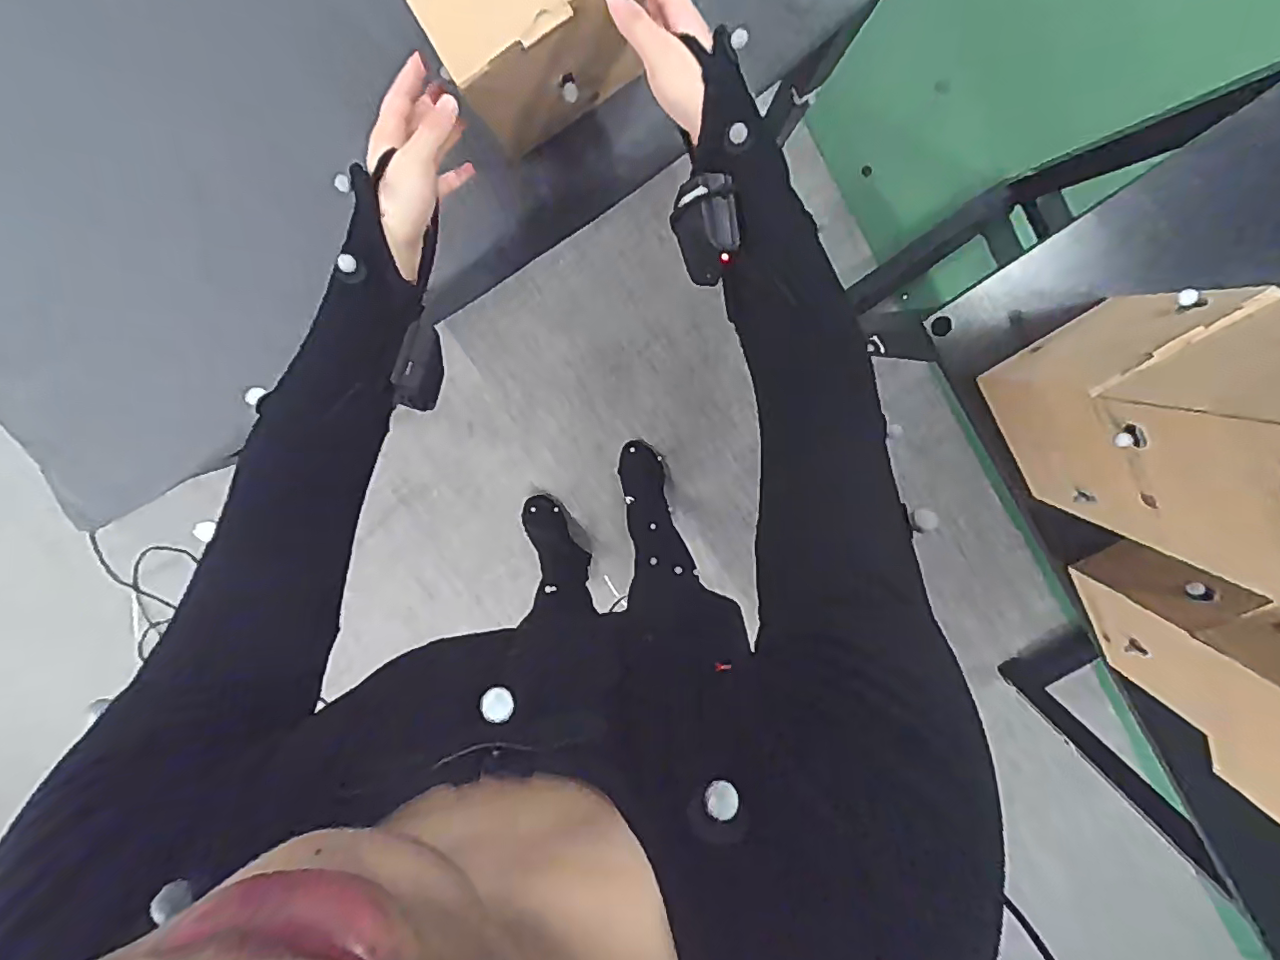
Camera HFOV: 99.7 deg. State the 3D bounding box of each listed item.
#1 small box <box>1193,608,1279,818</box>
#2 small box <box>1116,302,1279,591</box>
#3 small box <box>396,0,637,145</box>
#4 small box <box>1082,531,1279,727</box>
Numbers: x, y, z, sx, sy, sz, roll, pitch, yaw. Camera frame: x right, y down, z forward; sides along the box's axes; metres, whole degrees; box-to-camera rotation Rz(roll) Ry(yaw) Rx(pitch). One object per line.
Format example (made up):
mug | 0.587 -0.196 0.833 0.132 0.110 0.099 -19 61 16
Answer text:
small box | 0.635 0.220 0.455 0.168 0.176 0.179 -22 103 8
small box | 0.502 -0.024 0.391 0.179 0.176 0.168 -30 103 9
small box | -0.114 -0.428 0.469 0.168 0.176 0.179 -30 101 10
small box | 0.649 0.155 0.606 0.179 0.176 0.168 -30 103 9
